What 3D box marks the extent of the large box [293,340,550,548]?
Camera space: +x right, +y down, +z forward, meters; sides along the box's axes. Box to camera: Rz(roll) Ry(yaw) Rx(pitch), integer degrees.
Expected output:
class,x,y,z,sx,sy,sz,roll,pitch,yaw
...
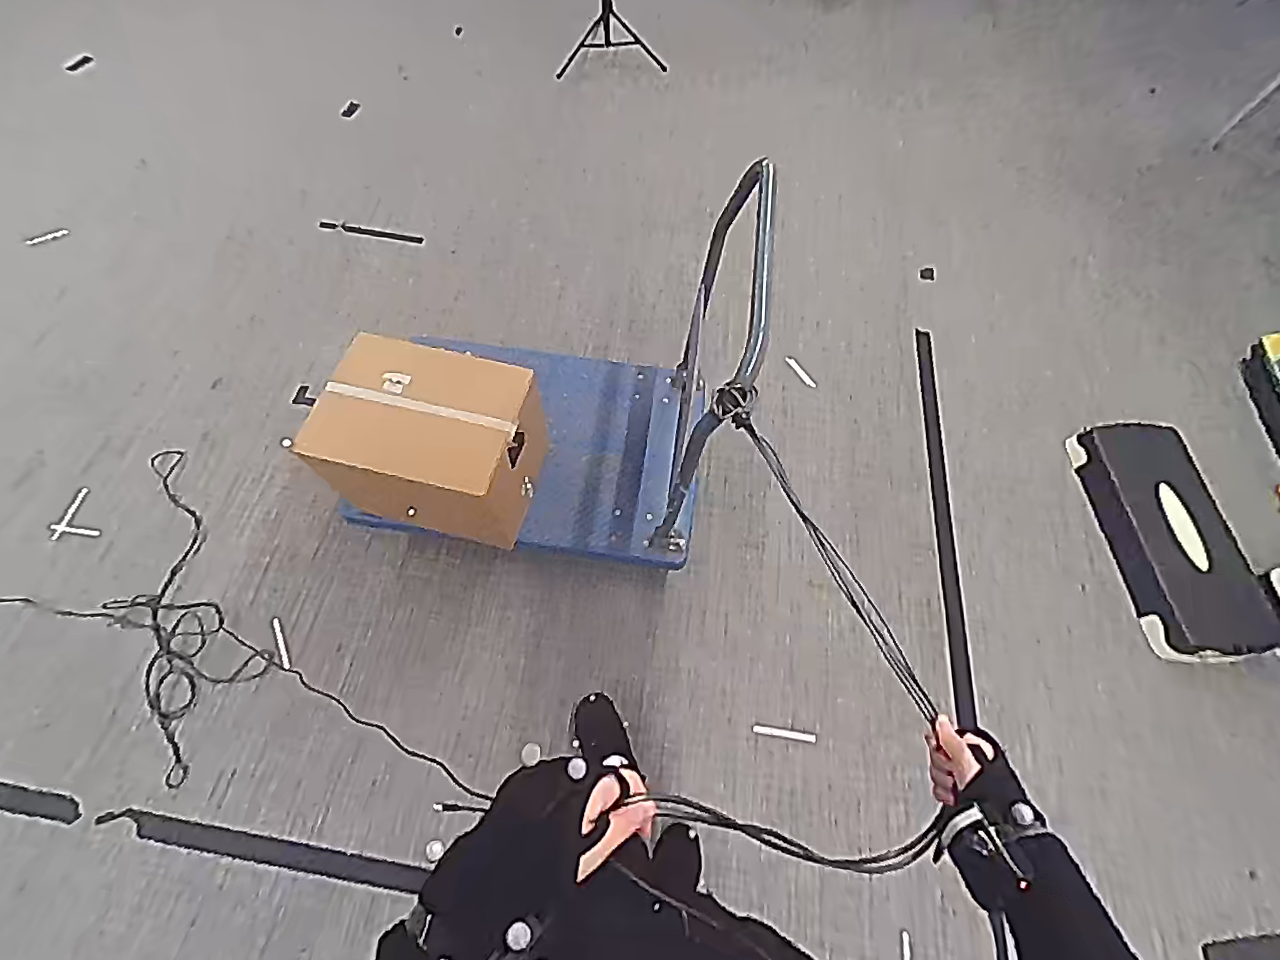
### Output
class,x,y,z,sx,sy,sz,roll,pitch,yaw
large box,-0.454,-0.069,1.236,0.408,0.320,0.320,12,63,5
